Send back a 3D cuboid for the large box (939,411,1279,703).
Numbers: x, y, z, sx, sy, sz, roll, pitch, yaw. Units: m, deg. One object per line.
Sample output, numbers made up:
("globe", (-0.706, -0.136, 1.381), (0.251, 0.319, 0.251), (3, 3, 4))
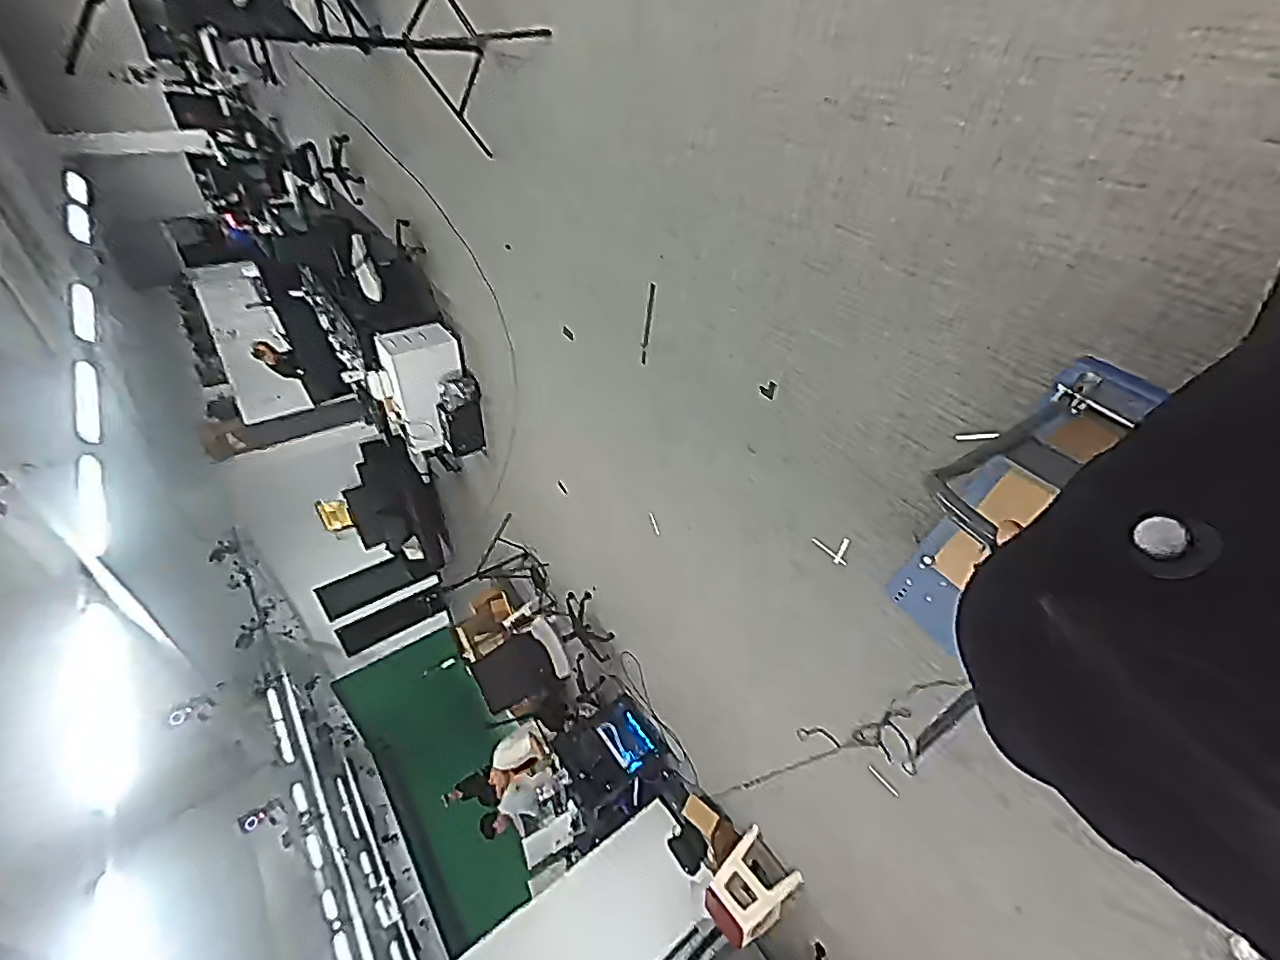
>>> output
("large box", (0.910, 0.131, 1.052), (0.408, 0.320, 0.320), (47, 145, 31))
